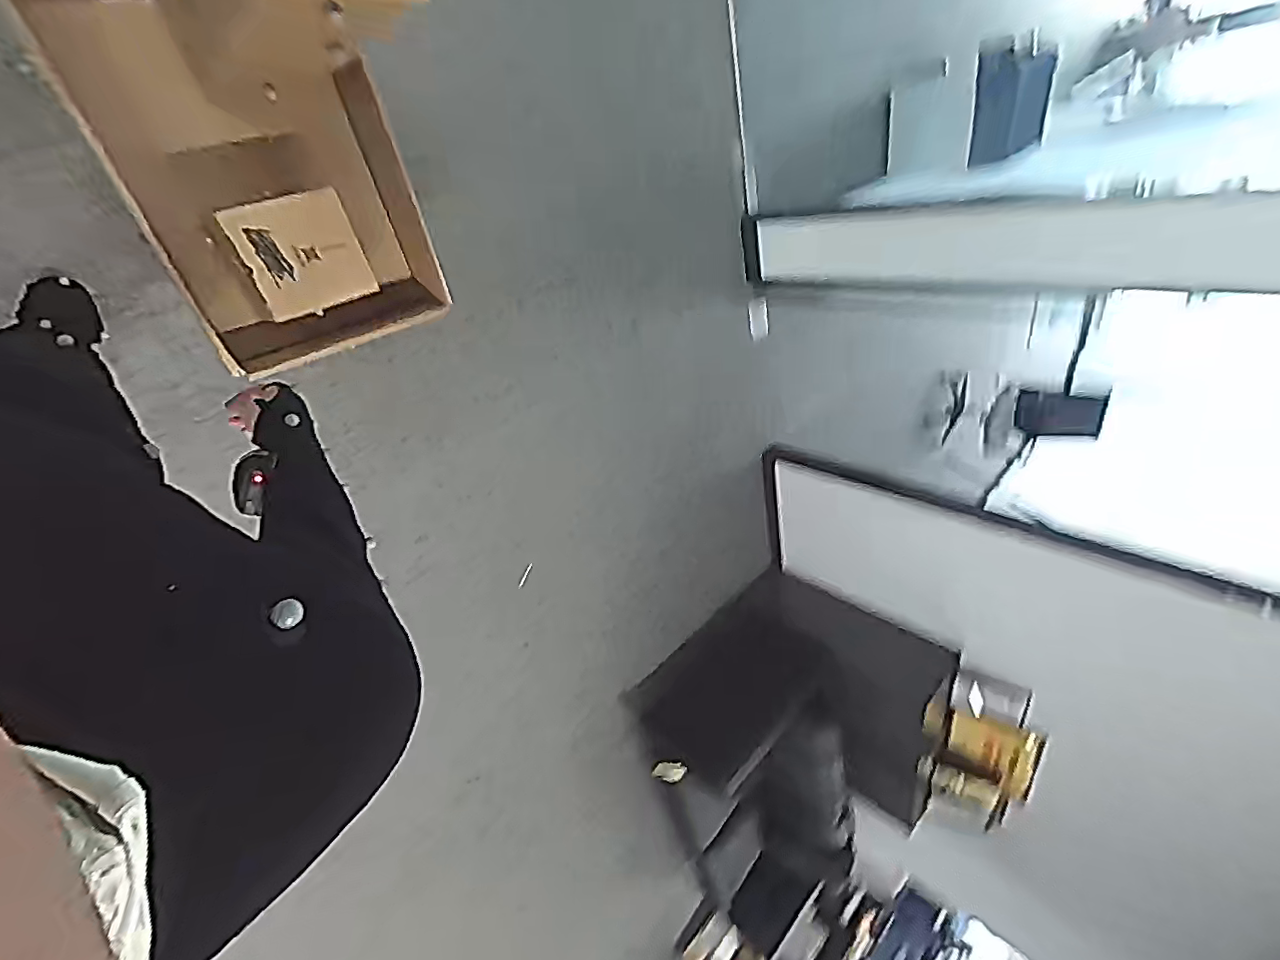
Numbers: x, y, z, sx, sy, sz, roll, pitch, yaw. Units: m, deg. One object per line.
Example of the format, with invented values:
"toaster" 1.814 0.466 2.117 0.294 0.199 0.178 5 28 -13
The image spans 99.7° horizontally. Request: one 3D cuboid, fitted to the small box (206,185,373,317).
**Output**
"small box" -0.595 -0.385 0.915 0.179 0.176 0.168 -35 128 -32
